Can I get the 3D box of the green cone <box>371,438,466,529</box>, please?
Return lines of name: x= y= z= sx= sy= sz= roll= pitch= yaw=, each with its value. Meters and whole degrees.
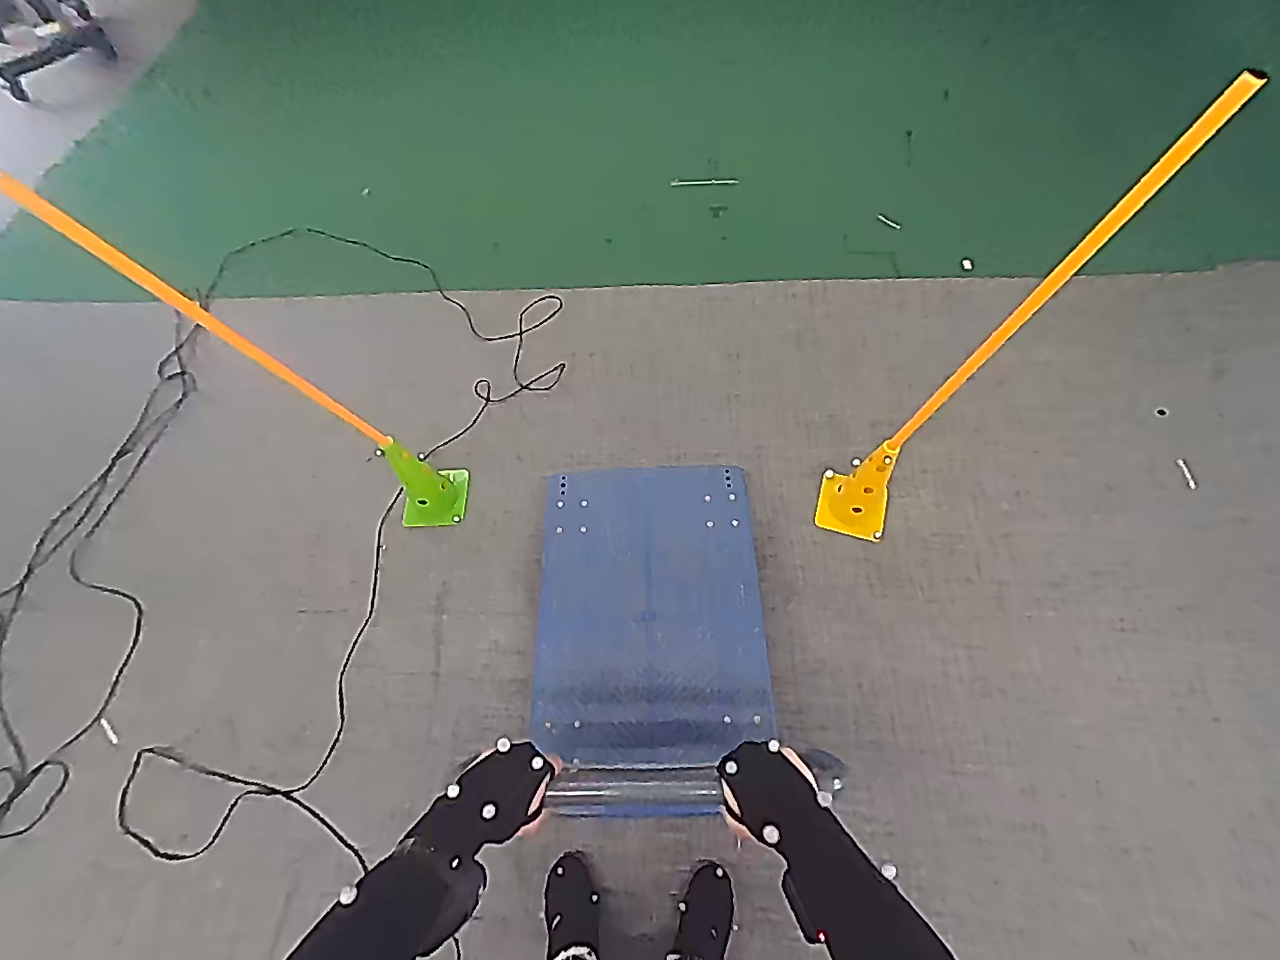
green cone: x=-0.687 y=-0.018 z=1.615 sx=0.202 sy=0.368 sz=0.200 roll=-4 pitch=61 yaw=3
